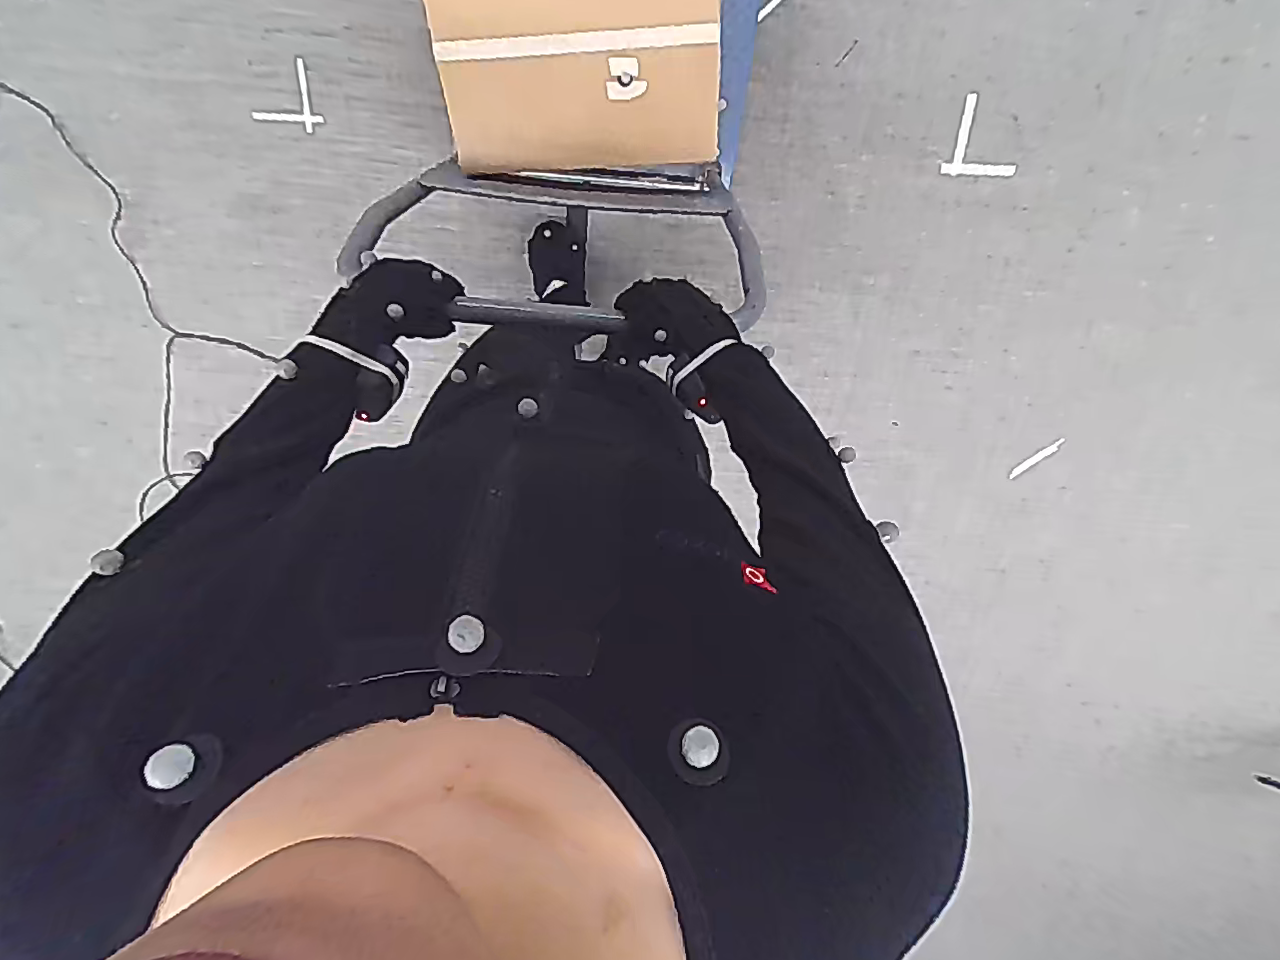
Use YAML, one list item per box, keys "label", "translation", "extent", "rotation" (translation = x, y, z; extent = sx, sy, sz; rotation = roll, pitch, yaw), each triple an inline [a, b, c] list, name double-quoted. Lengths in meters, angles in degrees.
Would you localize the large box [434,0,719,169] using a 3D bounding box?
- label: "large box"
  translation: [-0.089, -0.721, 0.892]
  extent: [0.408, 0.320, 0.320]
  rotation: [-3, 127, 1]
